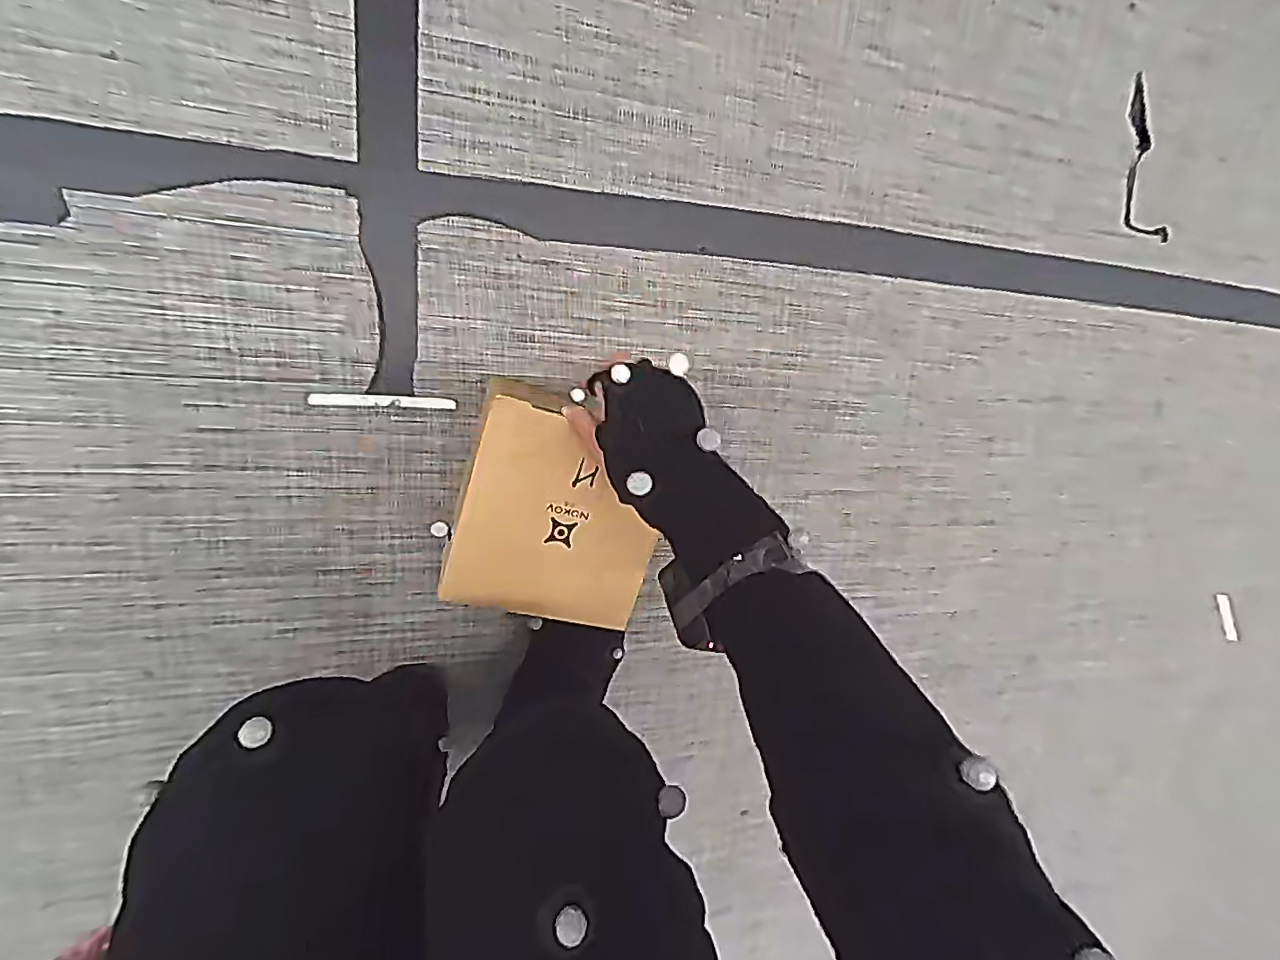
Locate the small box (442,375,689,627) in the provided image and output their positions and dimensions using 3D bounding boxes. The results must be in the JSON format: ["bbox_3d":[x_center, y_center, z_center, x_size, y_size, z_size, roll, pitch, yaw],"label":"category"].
[{"bbox_3d":[-0.079,0.011,0.516,0.168,0.176,0.179,15,101,-20],"label":"small box"}]
